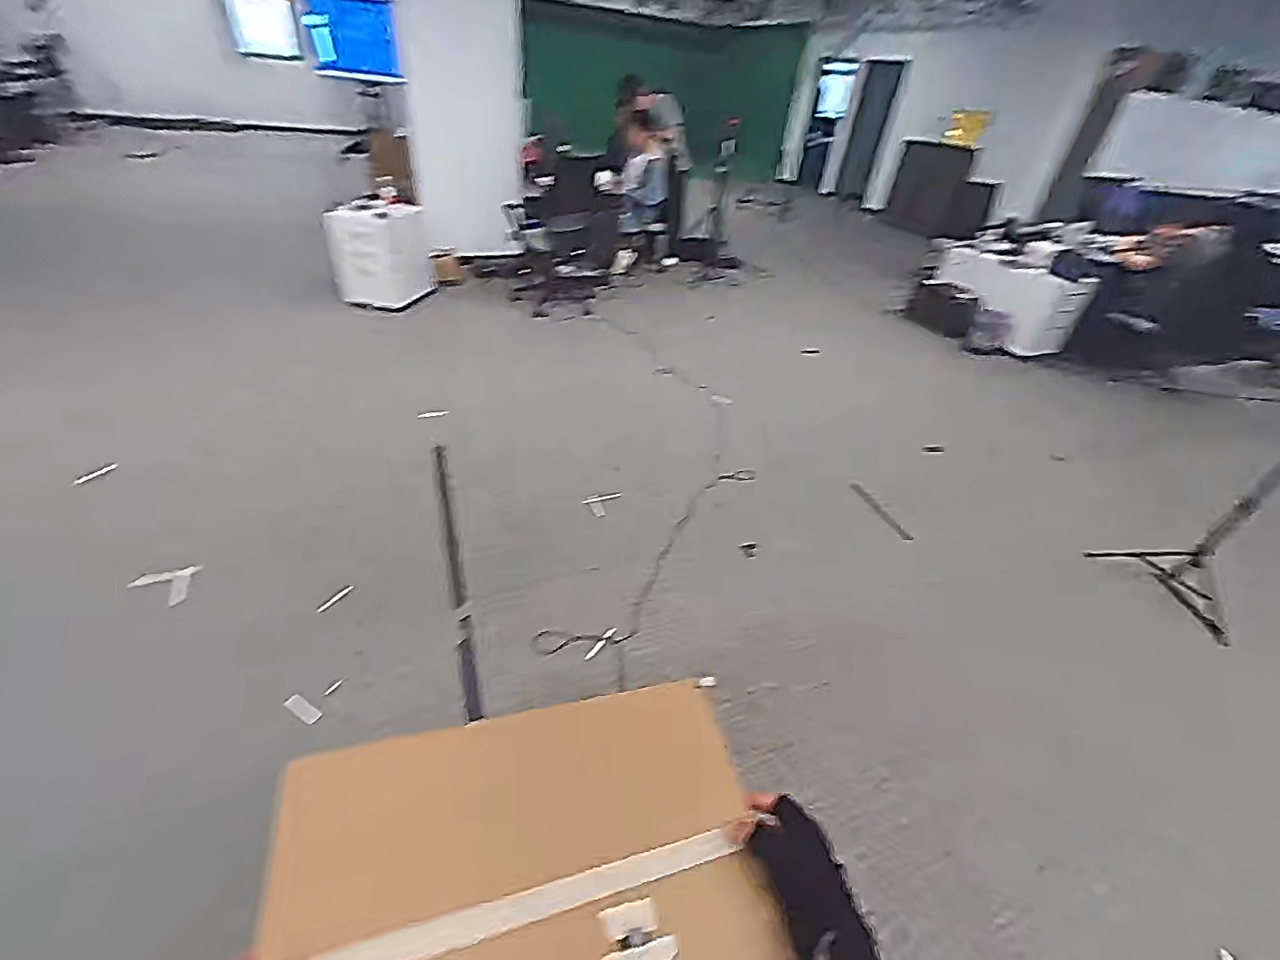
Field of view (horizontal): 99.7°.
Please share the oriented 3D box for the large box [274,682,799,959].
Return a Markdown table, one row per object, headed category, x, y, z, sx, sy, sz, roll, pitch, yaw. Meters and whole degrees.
| category | x | y | z | sx | sy | sz | roll | pitch | yaw |
| --- | --- | --- | --- | --- | --- | --- | --- | --- | --- |
| large box | -0.110 | 0.462 | 0.553 | 0.408 | 0.320 | 0.320 | -4 | 46 | -21 |
